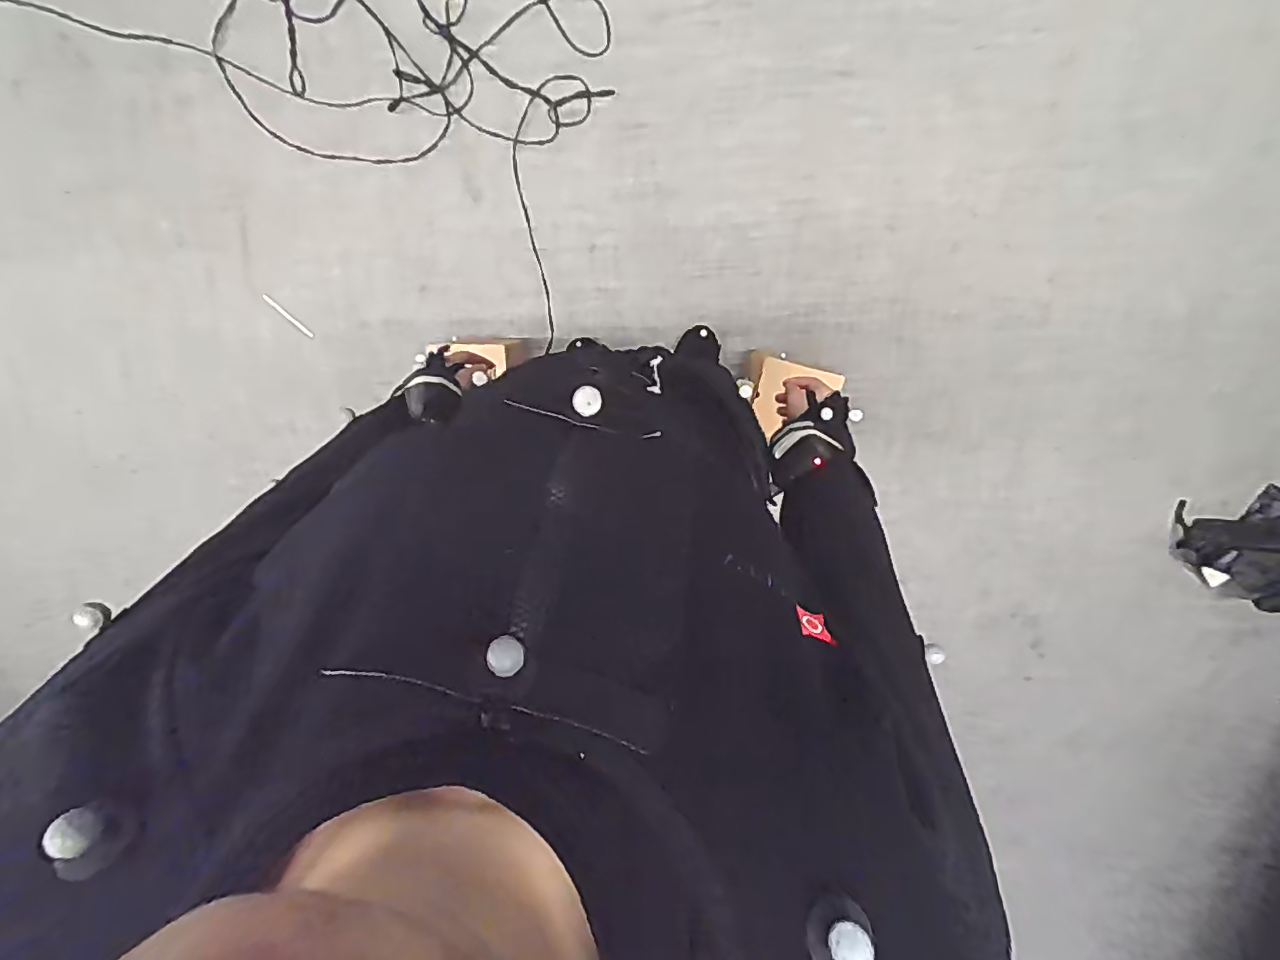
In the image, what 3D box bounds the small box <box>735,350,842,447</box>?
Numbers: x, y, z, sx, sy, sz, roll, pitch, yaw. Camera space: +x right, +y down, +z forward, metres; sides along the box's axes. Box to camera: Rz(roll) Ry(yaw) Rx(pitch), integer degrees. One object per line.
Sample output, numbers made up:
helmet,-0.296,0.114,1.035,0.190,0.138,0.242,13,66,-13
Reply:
small box,0.327,-0.192,1.232,0.179,0.176,0.168,13,109,-1
